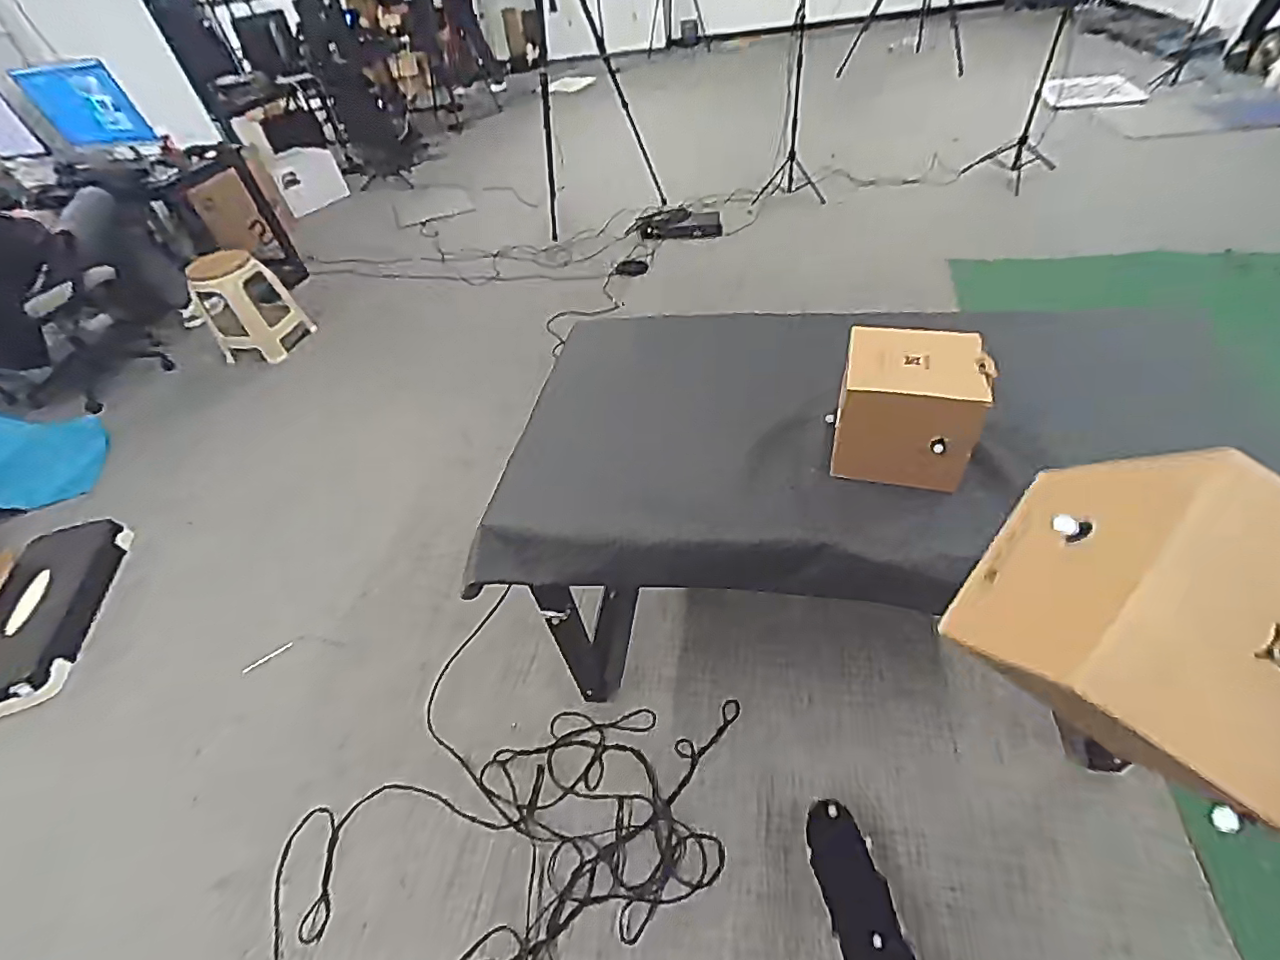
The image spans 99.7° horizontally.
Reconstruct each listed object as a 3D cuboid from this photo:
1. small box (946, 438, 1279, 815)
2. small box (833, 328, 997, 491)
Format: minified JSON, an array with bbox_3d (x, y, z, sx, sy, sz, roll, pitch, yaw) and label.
[{"bbox_3d":[0.363,0.095,0.380,0.179,0.176,0.168,34,89,5],"label":"small box"},{"bbox_3d":[0.393,-0.103,0.799,0.179,0.176,0.168,8,47,18],"label":"small box"}]
